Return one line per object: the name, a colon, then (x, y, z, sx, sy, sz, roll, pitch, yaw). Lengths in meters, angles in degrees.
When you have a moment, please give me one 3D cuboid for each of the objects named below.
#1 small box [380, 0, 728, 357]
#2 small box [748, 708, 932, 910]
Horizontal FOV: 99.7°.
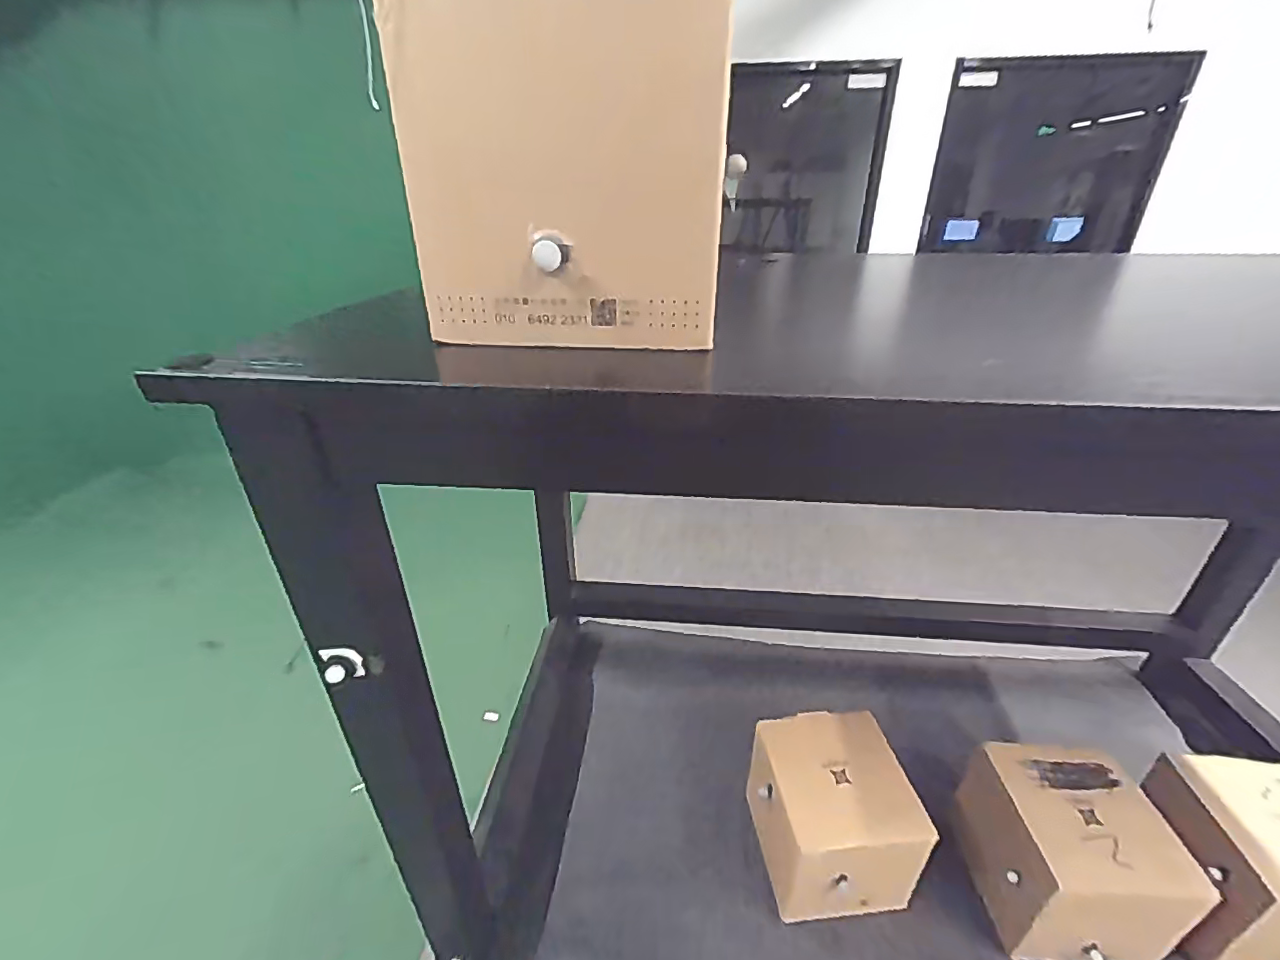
small box: (-0.033, -0.188, 0.352, 0.168, 0.176, 0.179, 3, 29, 6)
small box: (0.251, 0.440, 0.725, 0.168, 0.176, 0.179, -3, 28, -5)
